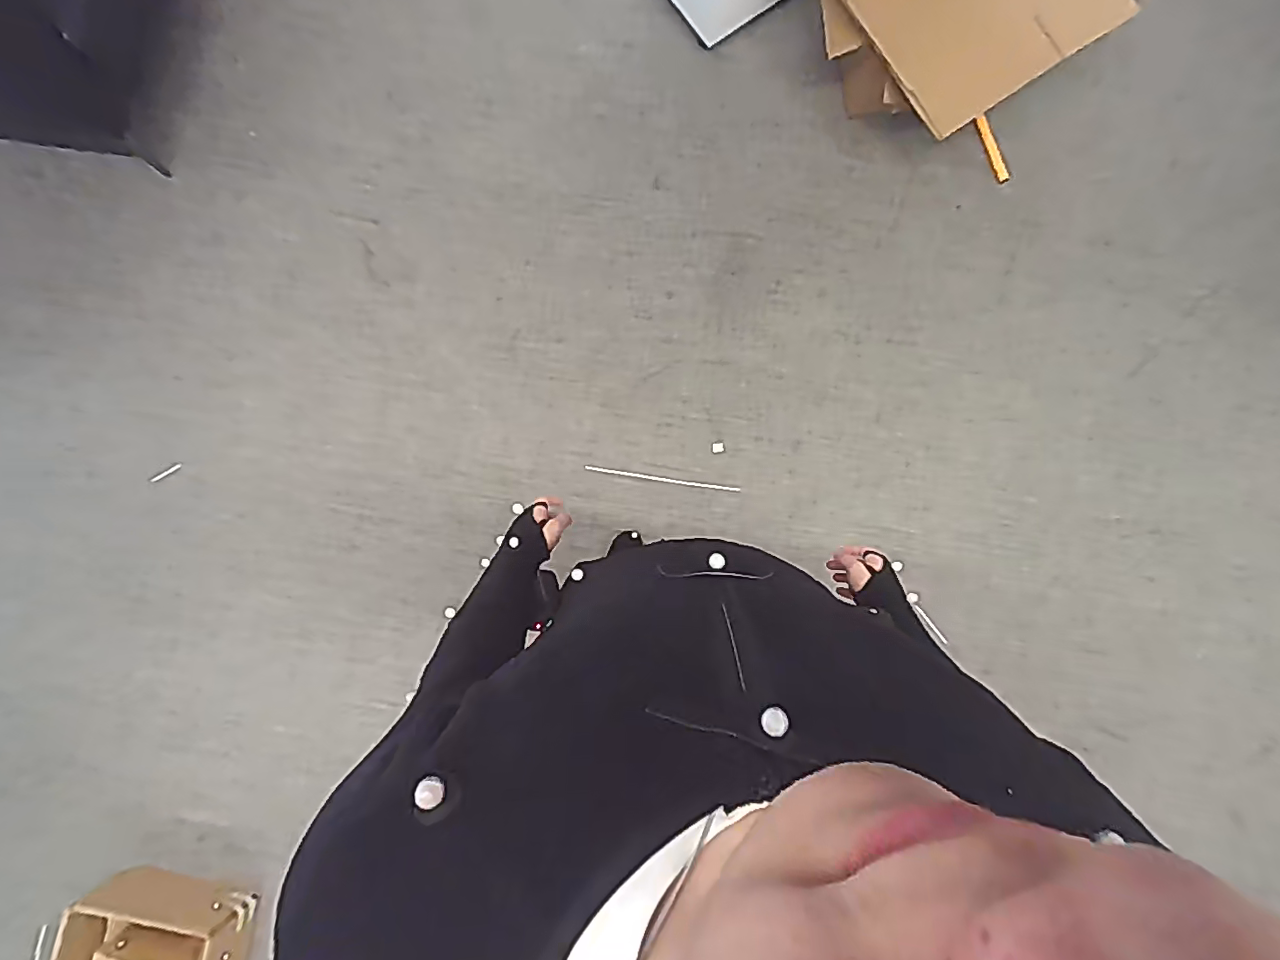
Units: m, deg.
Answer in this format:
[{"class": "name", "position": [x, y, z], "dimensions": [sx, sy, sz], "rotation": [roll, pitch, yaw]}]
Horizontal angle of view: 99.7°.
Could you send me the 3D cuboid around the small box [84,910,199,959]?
[{"class": "small box", "position": [-1.328, 1.293, 1.430], "dimensions": [0.179, 0.176, 0.168], "rotation": [14, 85, 2]}]
